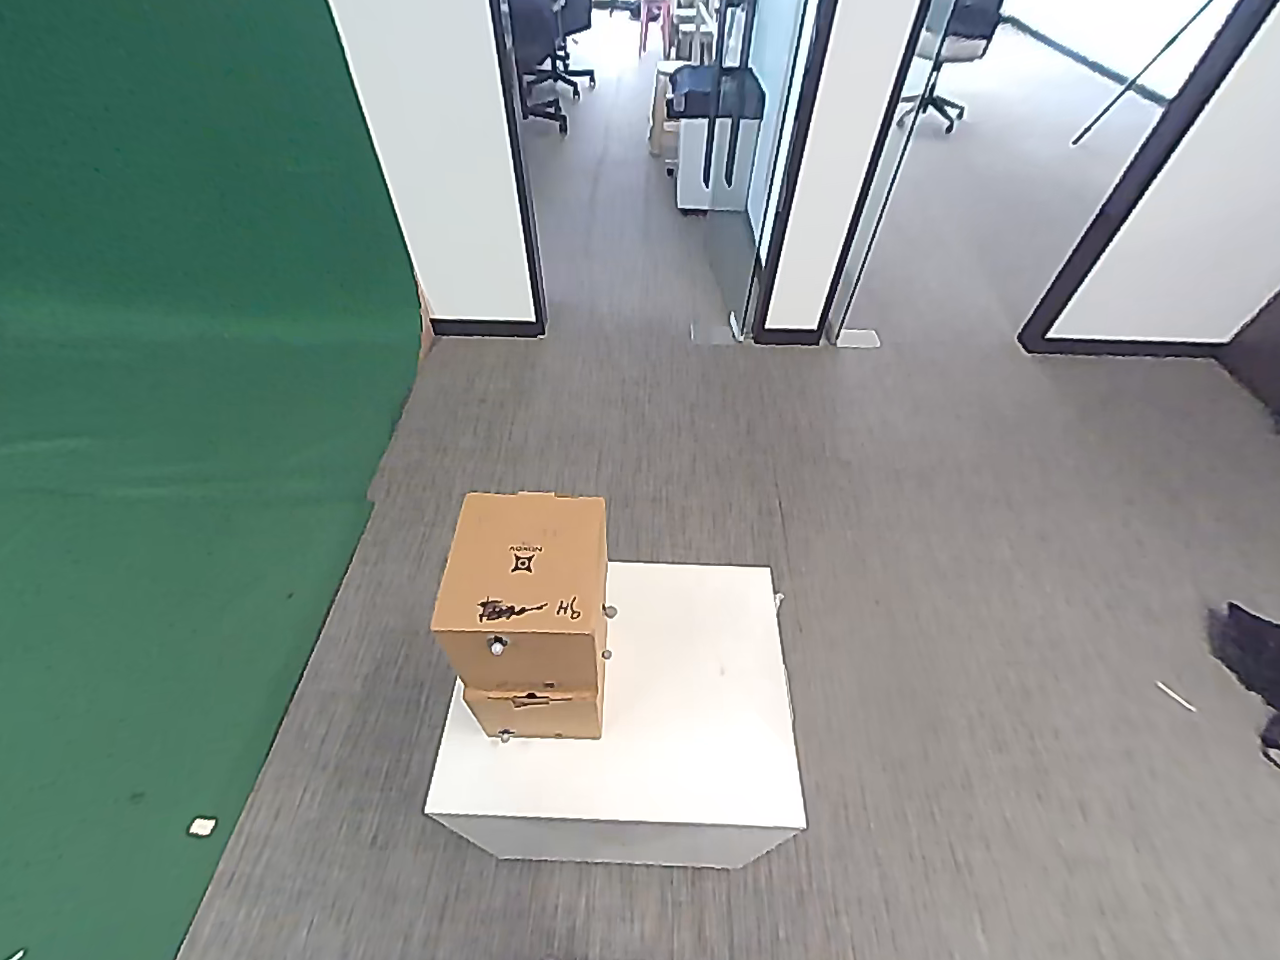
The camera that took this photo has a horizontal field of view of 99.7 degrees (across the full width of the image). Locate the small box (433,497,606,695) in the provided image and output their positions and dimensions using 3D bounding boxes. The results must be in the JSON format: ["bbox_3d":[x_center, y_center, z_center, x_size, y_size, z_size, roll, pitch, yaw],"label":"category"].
[{"bbox_3d":[-0.129,0.141,0.658,0.168,0.176,0.179,1,49,0],"label":"small box"}]

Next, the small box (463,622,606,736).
[{"bbox_3d":[-0.137,0.255,0.775,0.168,0.176,0.179,2,49,-1],"label":"small box"}]
